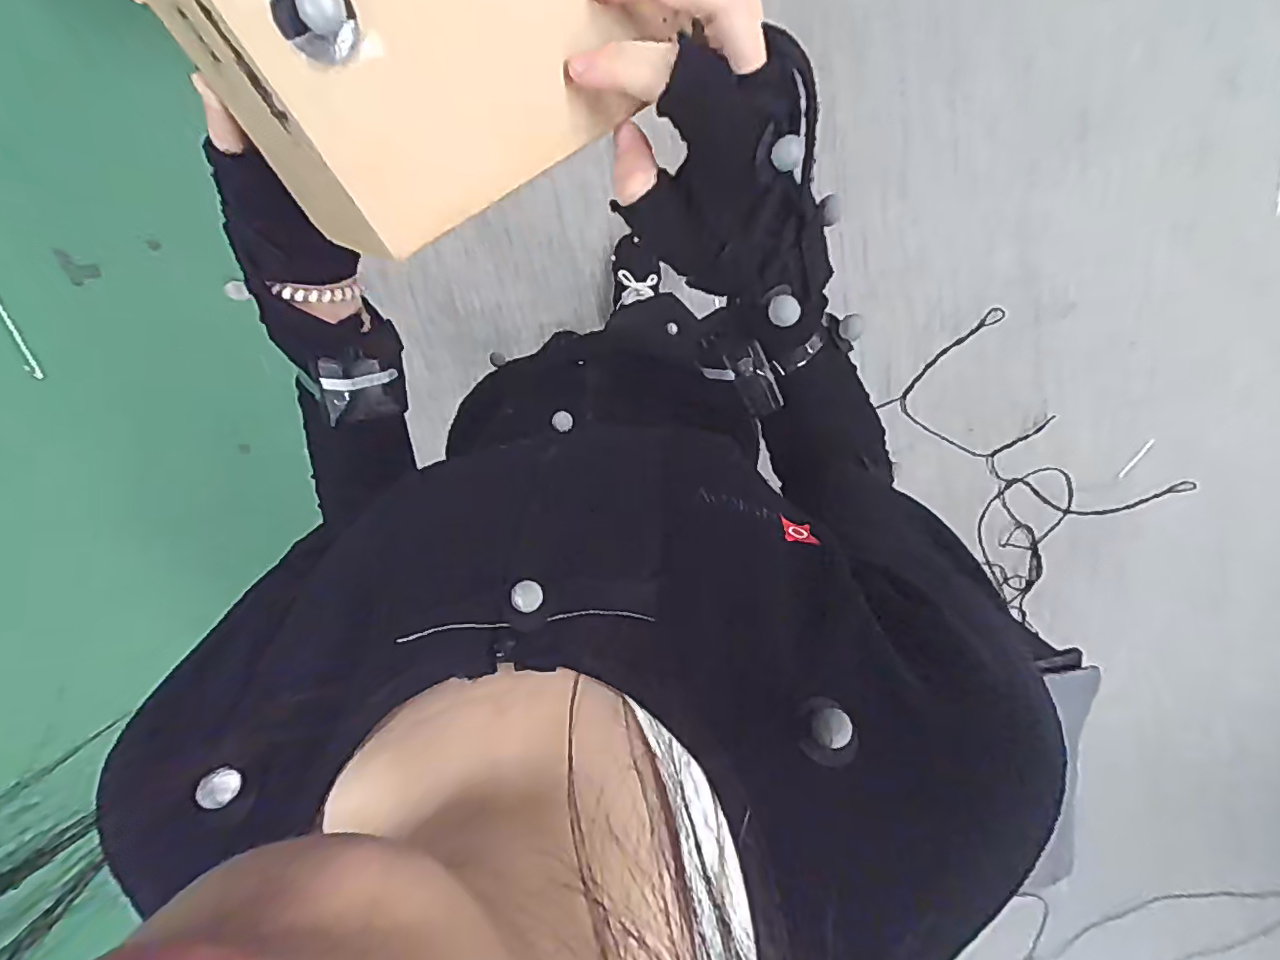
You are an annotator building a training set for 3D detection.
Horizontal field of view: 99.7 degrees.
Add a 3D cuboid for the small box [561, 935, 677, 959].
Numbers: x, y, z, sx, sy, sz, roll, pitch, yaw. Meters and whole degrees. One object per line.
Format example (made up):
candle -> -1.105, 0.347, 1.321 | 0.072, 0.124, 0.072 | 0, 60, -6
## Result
small box -> -0.026, 0.794, 0.772 | 0.179, 0.176, 0.168 | -2, 109, -3
